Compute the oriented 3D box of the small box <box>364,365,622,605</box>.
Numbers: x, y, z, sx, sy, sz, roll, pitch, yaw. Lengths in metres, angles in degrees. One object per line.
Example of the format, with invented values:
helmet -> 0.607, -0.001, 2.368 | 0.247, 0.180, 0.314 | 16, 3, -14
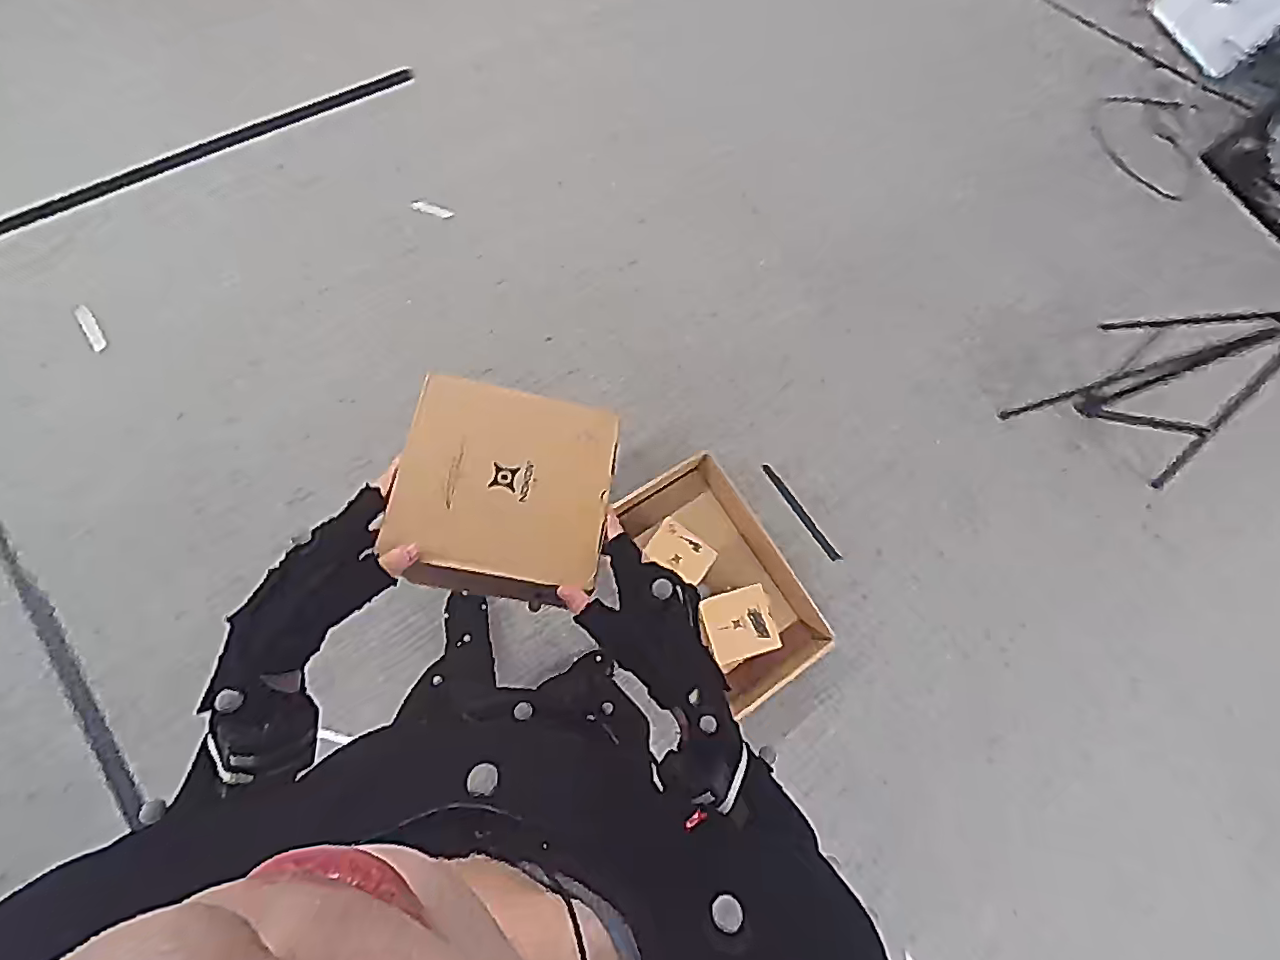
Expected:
small box -> -0.126, 0.020, 0.508 | 0.179, 0.176, 0.168 | 10, 69, -10
